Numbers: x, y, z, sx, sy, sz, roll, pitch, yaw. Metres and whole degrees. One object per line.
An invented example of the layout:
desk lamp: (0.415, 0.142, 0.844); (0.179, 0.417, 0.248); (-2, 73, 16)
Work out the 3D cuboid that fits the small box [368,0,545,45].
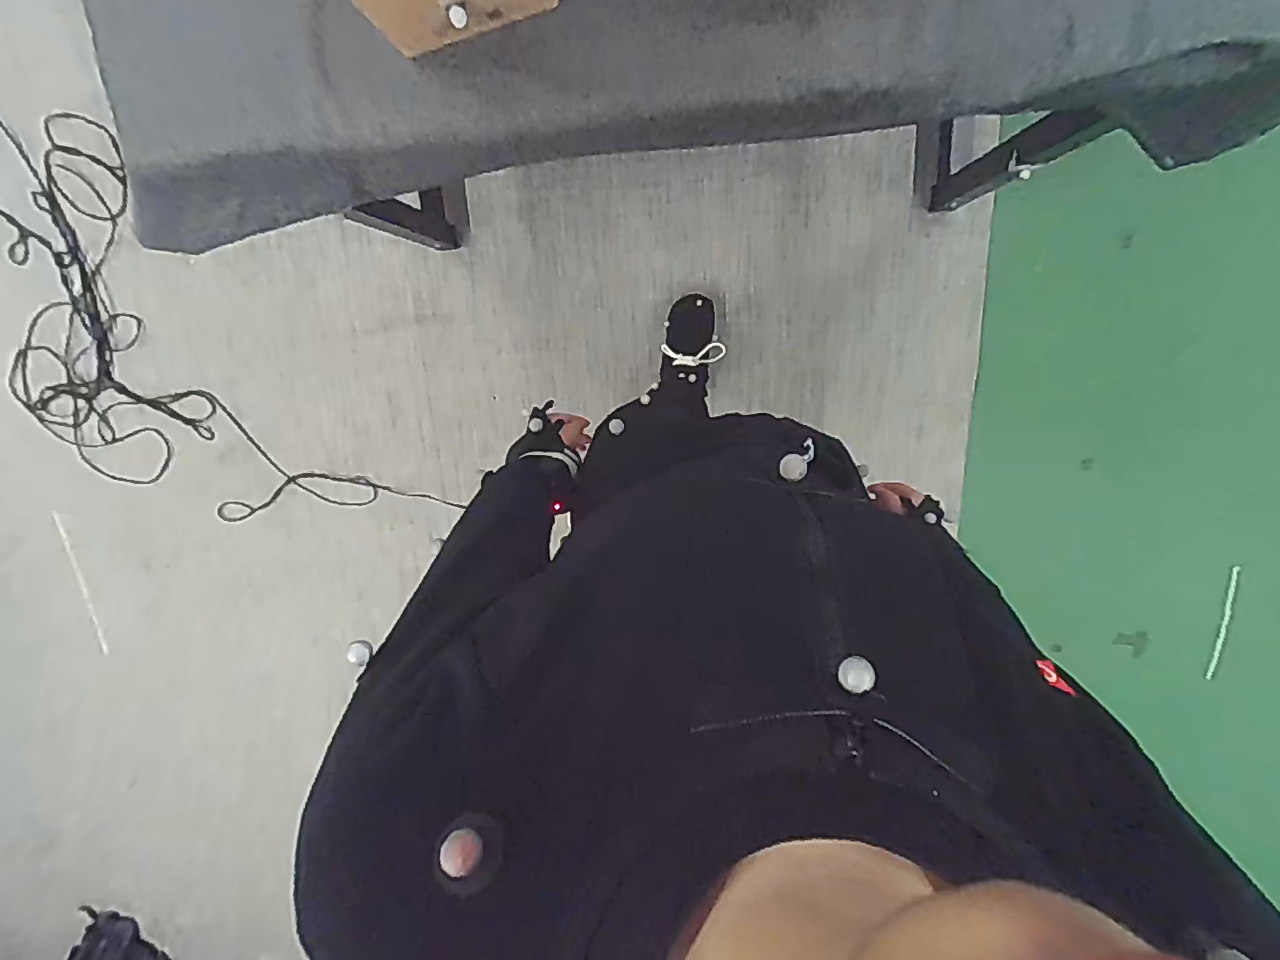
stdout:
small box: (-0.184, -0.508, 0.433); (0.168, 0.176, 0.179); (-12, 104, 8)
